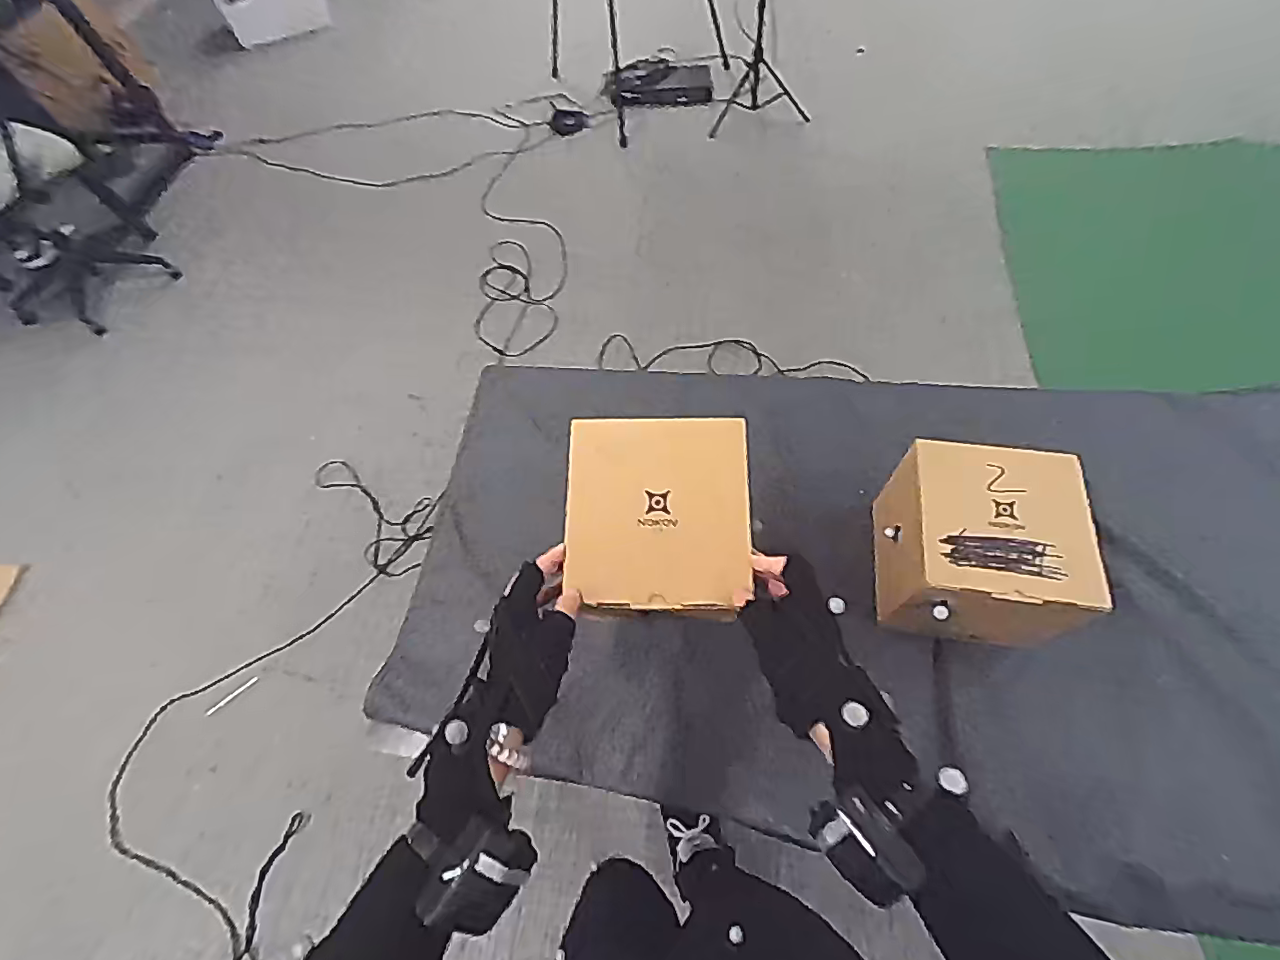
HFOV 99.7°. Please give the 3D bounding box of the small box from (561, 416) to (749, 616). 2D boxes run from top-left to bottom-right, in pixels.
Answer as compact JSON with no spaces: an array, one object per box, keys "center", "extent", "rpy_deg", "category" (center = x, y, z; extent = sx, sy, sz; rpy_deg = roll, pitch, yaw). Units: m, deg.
[{"center":[0.016,0.046,0.566],"extent":[0.168,0.176,0.179],"rpy_deg":[0,74,2],"category":"small box"}]
